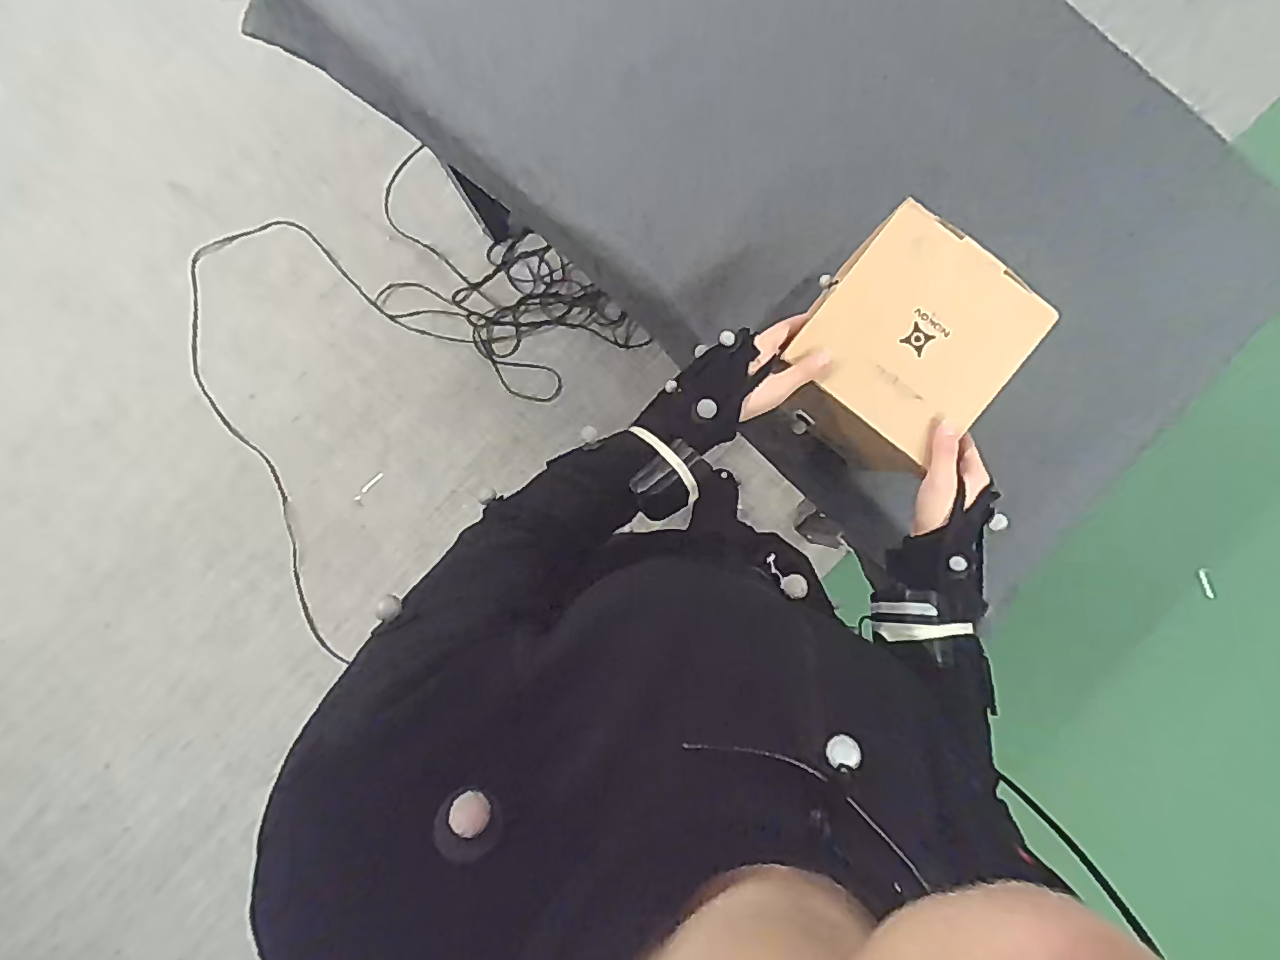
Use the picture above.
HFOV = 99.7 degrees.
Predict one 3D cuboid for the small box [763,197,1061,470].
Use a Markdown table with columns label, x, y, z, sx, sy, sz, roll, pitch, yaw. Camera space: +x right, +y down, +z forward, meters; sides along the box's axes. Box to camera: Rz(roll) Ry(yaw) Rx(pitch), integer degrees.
| label | x | y | z | sx | sy | sz | roll | pitch | yaw |
| --- | --- | --- | --- | --- | --- | --- | --- | --- | --- |
| small box | 0.244 | -0.128 | 0.540 | 0.168 | 0.176 | 0.179 | 37 | 93 | 1 |
